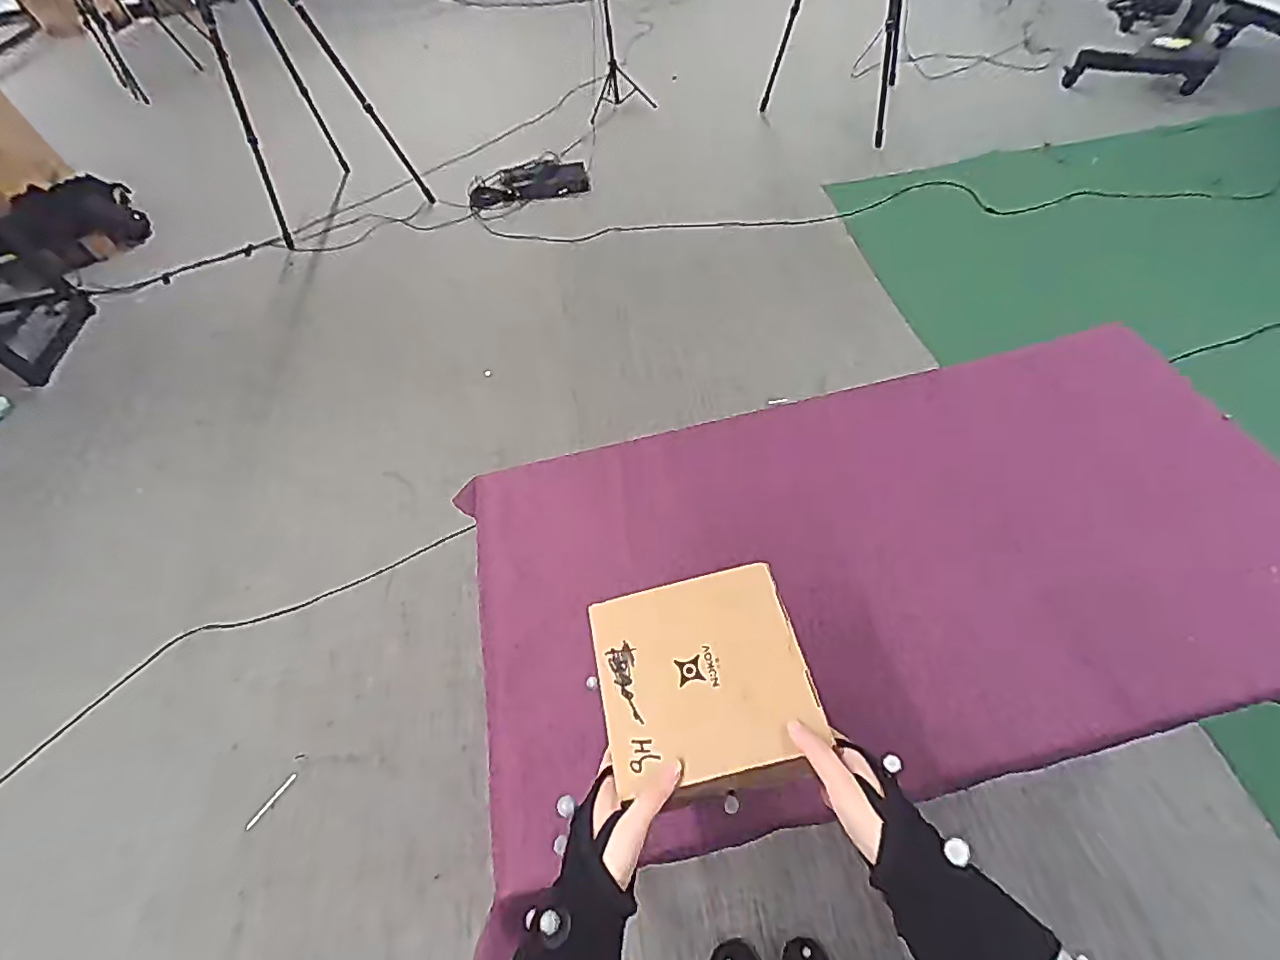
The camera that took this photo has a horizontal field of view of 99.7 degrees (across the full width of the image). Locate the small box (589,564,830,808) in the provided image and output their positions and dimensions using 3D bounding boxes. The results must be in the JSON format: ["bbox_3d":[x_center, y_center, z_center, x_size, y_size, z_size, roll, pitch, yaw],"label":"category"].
[{"bbox_3d":[0.060,0.207,0.529,0.179,0.176,0.168,-14,54,0],"label":"small box"}]
